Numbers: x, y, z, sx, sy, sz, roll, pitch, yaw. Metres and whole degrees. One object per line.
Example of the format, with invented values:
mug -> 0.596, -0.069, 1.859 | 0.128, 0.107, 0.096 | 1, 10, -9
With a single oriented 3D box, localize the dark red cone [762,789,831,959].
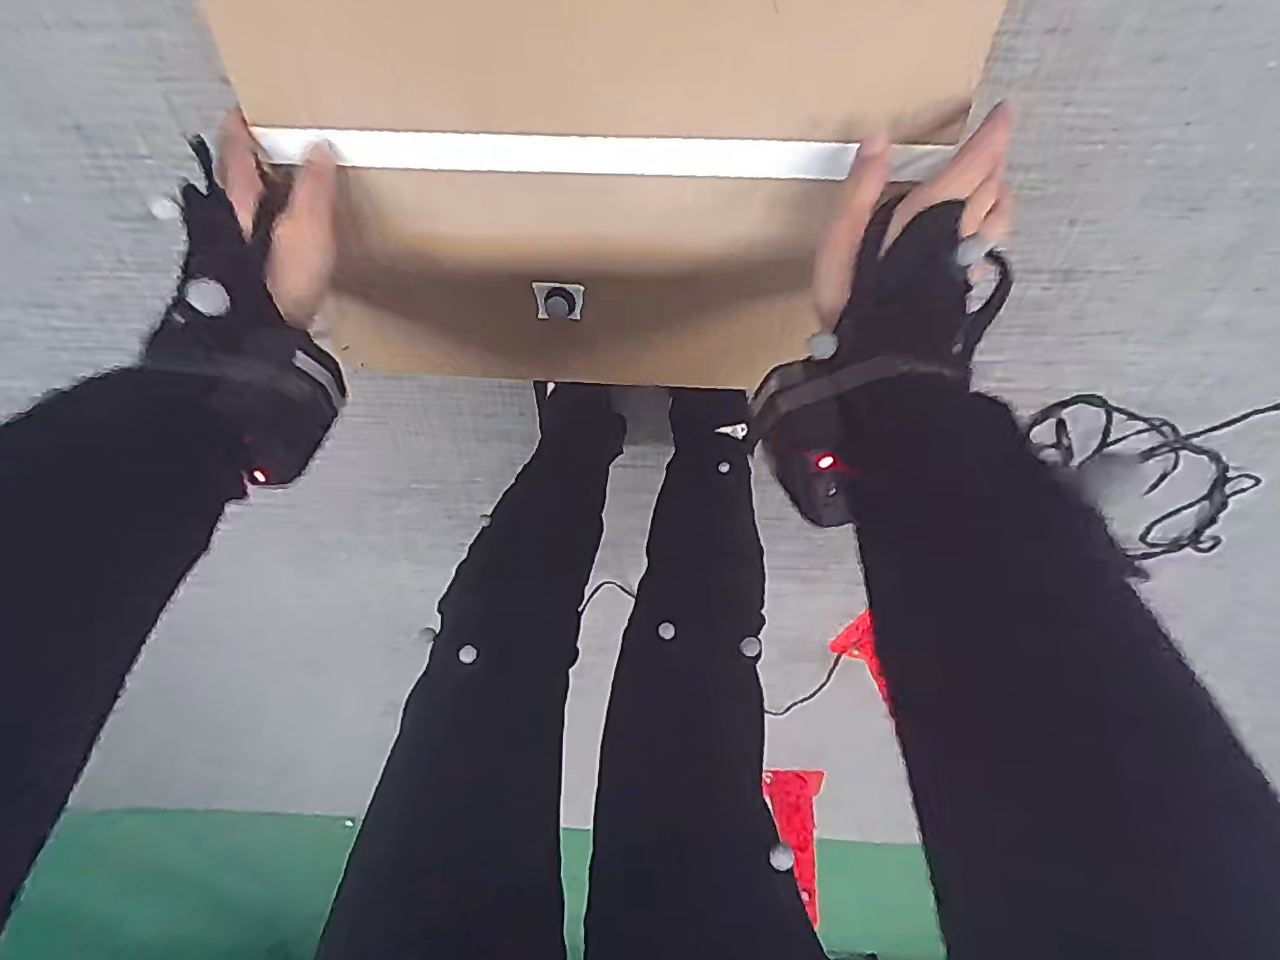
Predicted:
dark red cone -> 0.467, 1.096, 1.522 | 0.202, 0.394, 0.201 | -5, 133, 7

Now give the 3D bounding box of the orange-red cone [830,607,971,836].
orange-red cone -> 0.520, 0.447, 0.998 | 0.199, 0.360, 0.198 | 16, 130, -12
